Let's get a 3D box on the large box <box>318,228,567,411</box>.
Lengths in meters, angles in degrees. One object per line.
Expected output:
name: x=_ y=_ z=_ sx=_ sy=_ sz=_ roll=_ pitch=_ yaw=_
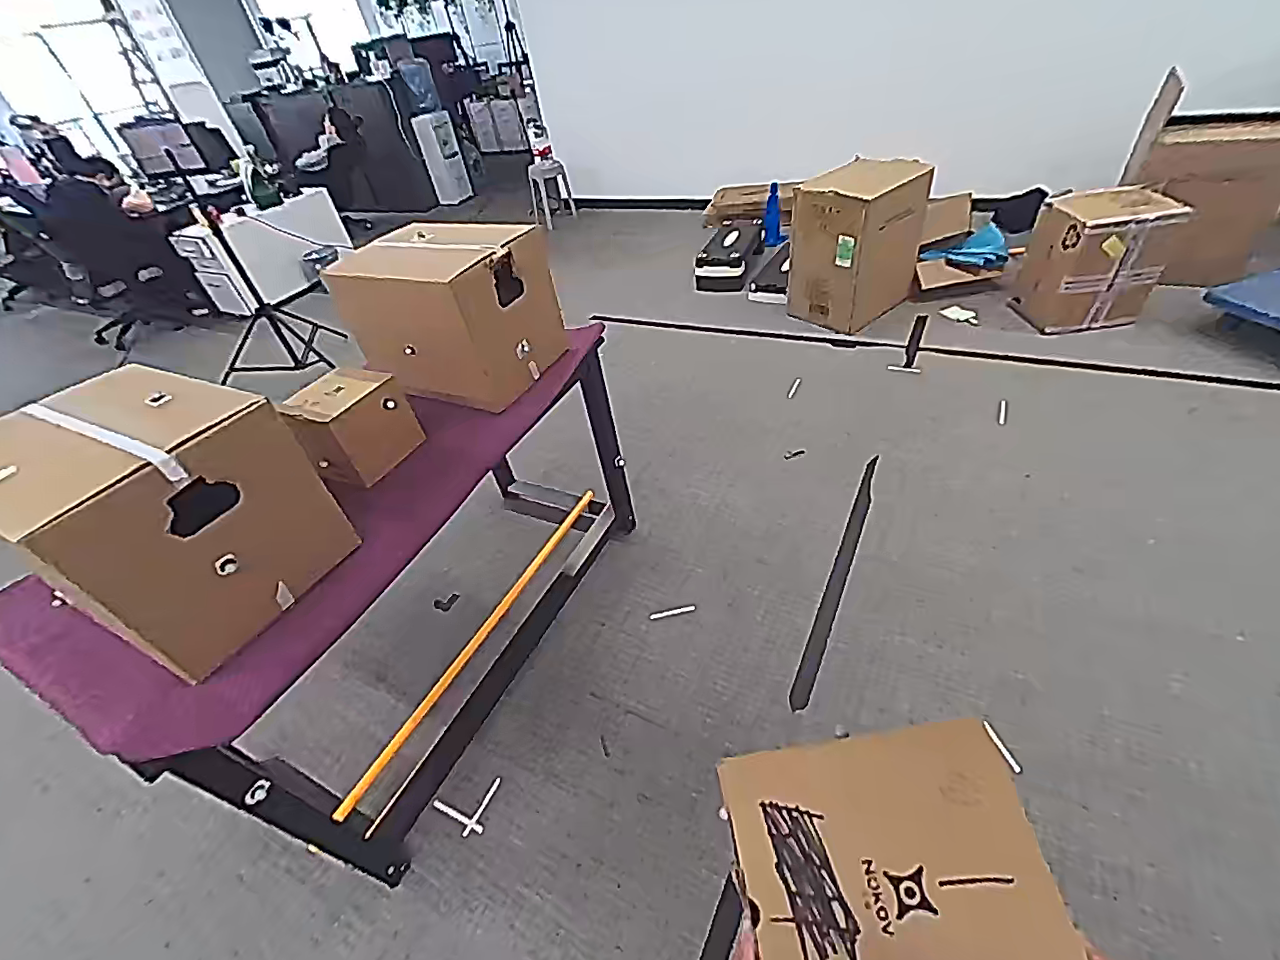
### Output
large box: x=-0.448 y=-0.393 z=1.303 sx=0.408 sy=0.320 sz=0.320 roll=12 pitch=46 yaw=25

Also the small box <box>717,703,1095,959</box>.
small box: x=0.161 y=0.269 z=0.380 sx=0.179 sy=0.176 sz=0.168 roll=-12 pitch=58 yaw=5
